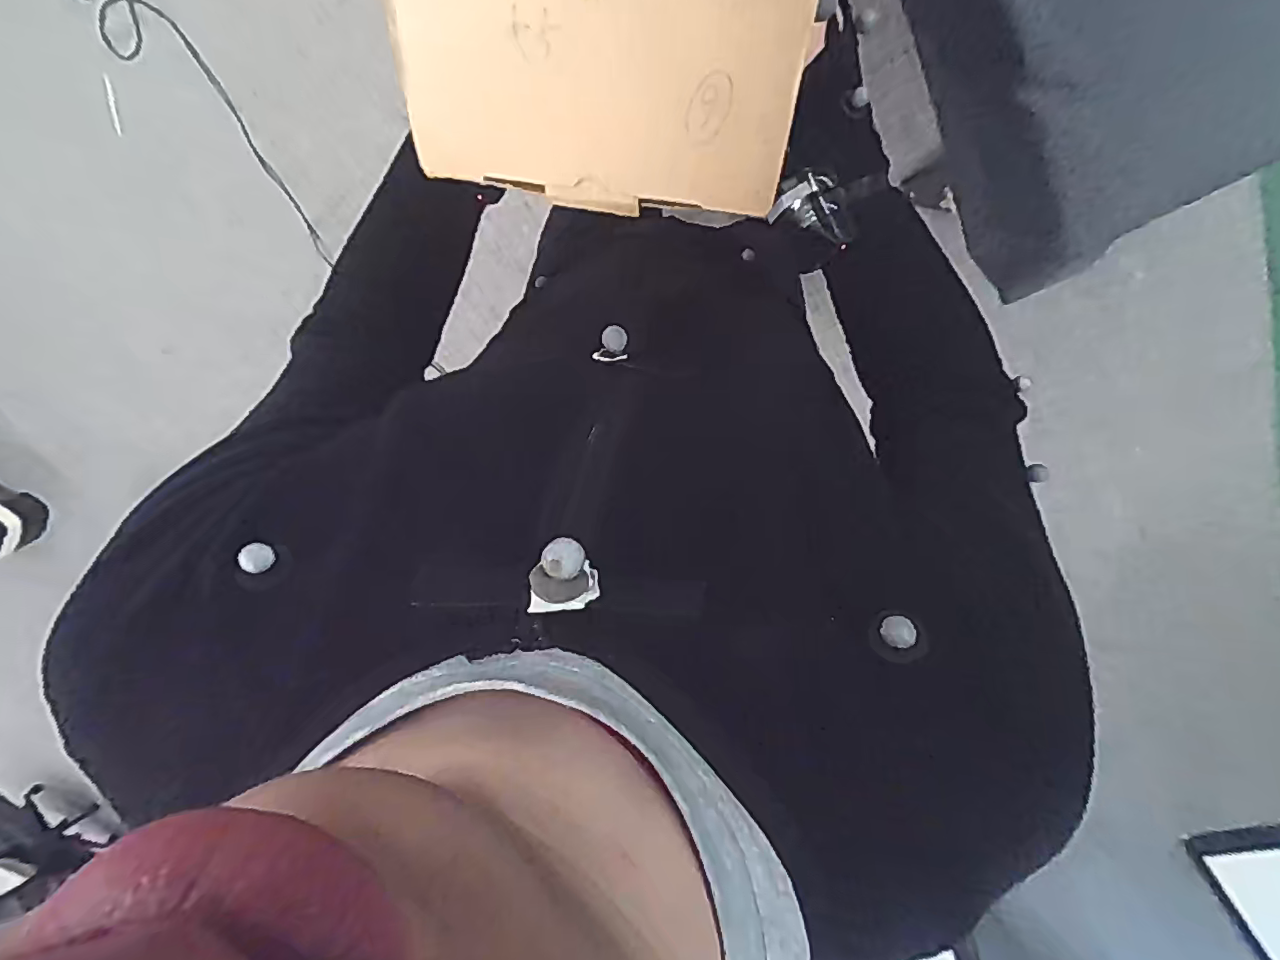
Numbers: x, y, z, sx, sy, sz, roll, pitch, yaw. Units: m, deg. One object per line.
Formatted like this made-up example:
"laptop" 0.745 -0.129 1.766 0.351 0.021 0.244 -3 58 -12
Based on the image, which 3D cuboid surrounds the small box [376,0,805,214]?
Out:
"small box" -0.005 -0.248 0.237 0.168 0.176 0.179 10 137 4
